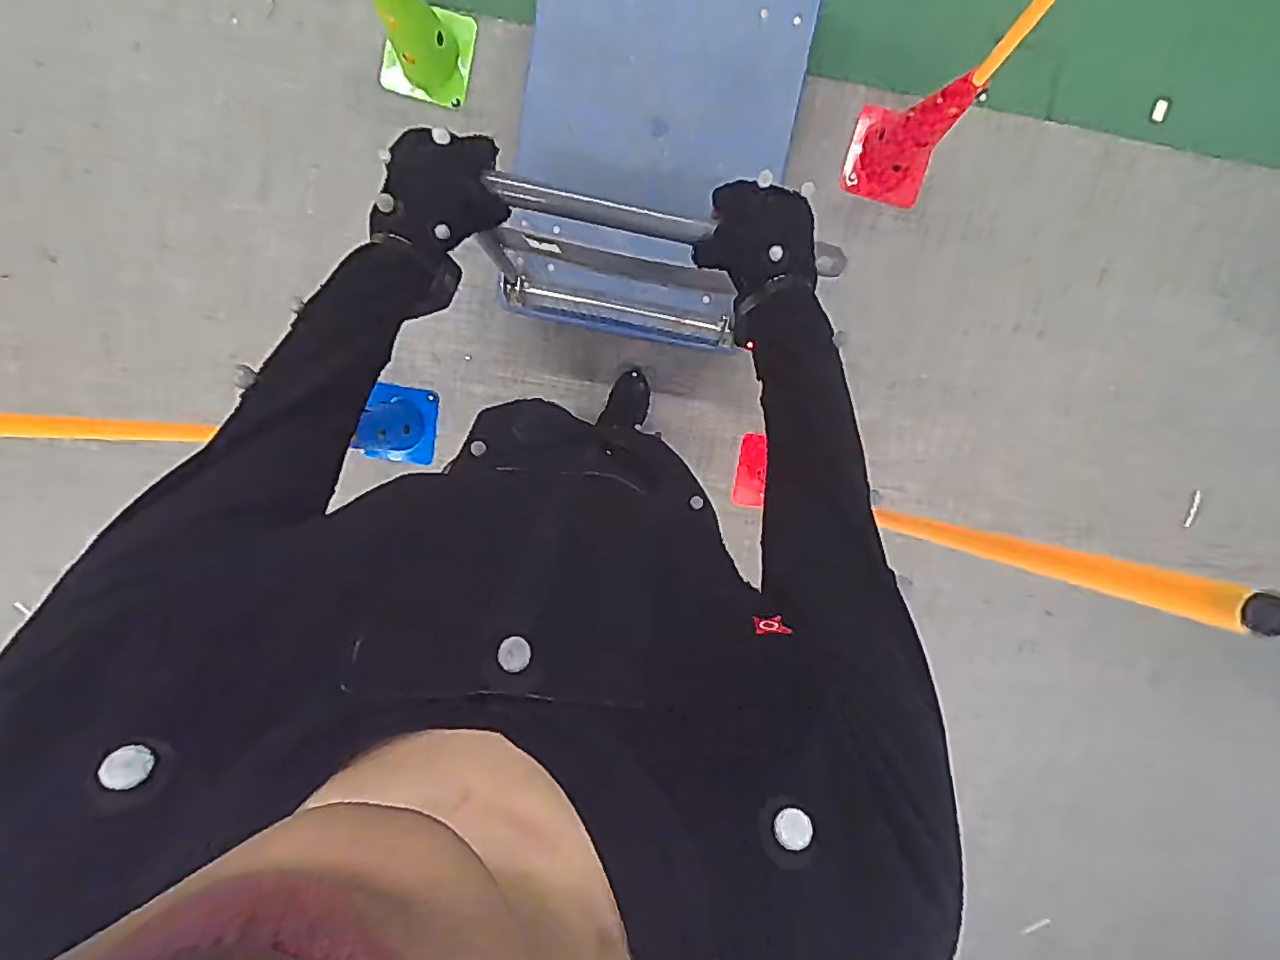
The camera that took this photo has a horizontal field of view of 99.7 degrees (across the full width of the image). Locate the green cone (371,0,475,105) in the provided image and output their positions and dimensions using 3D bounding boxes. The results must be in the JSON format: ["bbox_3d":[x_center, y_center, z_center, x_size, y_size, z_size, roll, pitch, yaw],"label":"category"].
[{"bbox_3d":[-0.500,-0.984,1.108,0.202,0.368,0.200,14,99,-3],"label":"green cone"}]

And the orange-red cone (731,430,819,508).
[{"bbox_3d":[0.356,0.000,1.308,0.199,0.360,0.198,8,99,-1],"label":"orange-red cone"}]
